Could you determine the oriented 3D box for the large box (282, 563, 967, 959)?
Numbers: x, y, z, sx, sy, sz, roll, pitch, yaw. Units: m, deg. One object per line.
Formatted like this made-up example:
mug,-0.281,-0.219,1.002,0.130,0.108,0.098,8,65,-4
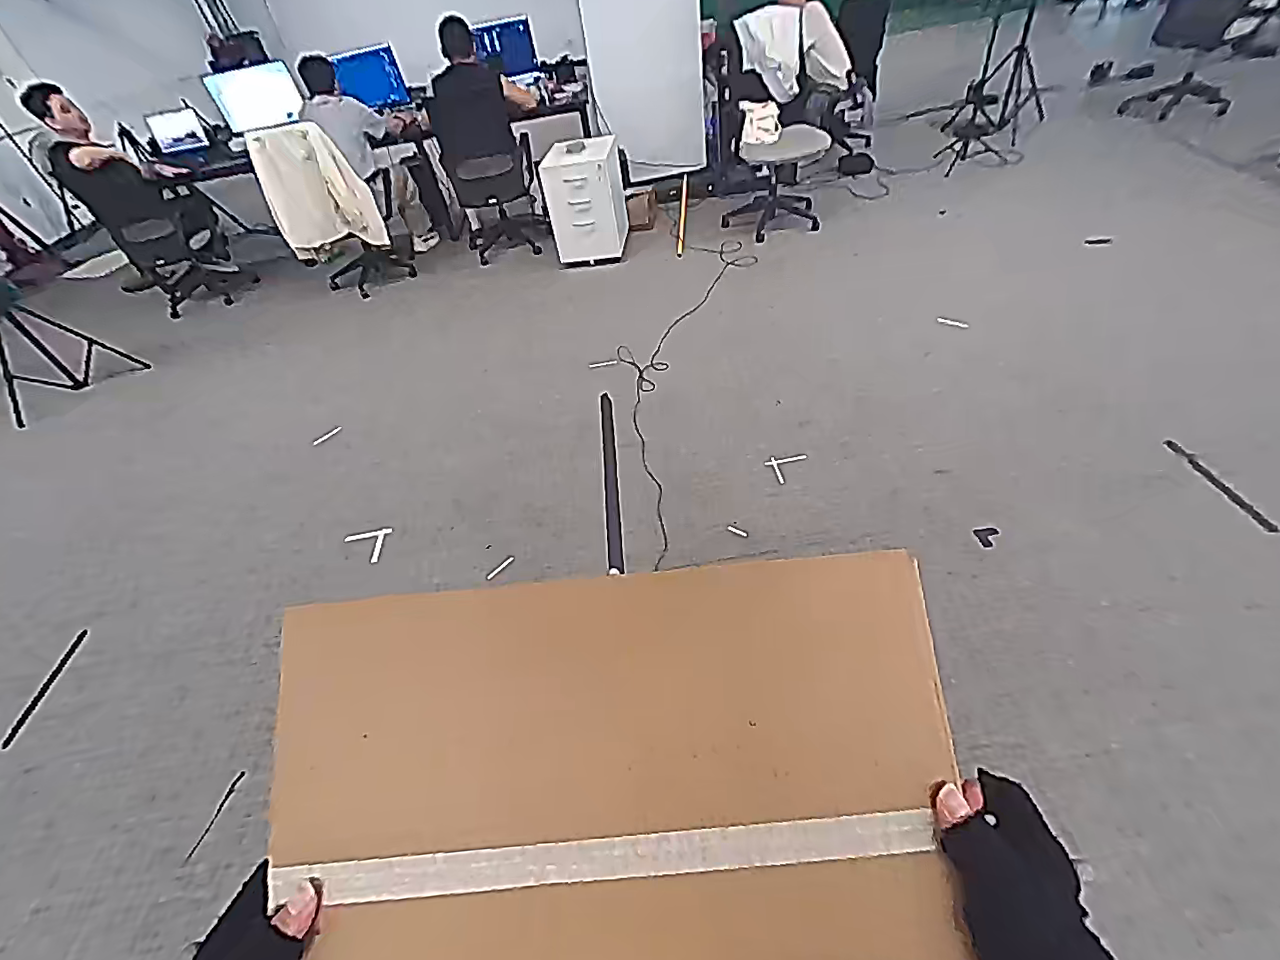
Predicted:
large box,-0.010,0.257,0.472,0.408,0.320,0.320,-6,77,1
